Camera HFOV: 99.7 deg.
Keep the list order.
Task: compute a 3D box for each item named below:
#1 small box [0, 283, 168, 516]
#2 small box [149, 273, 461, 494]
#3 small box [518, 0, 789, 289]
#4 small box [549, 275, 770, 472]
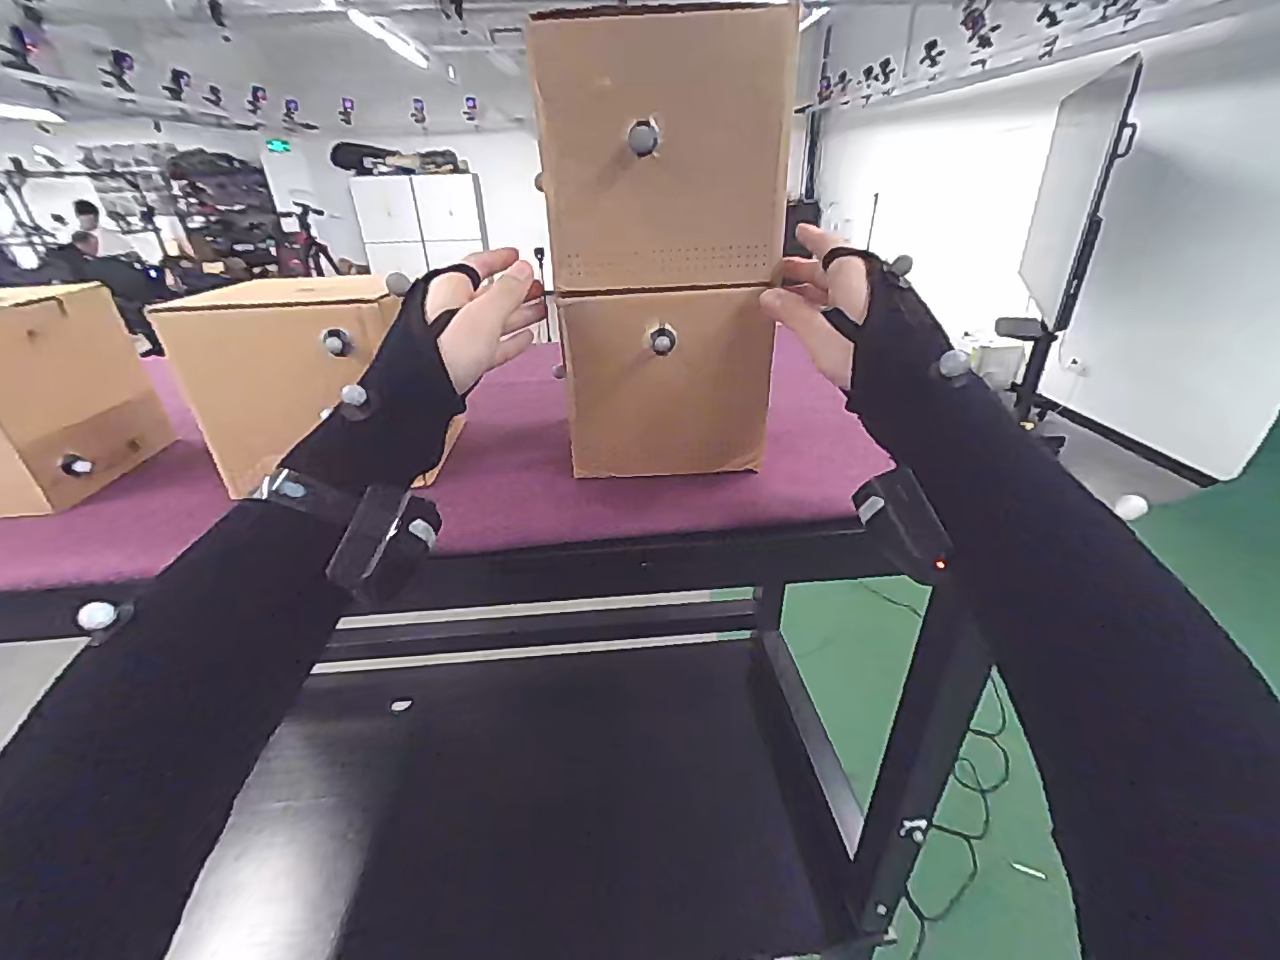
[{"bbox_3d":[-0.595,-0.073,0.489,0.179,0.176,0.168,-6,29,-5],"label":"small box"},{"bbox_3d":[-0.287,-0.096,0.516,0.179,0.176,0.168,-4,28,-4],"label":"small box"},{"bbox_3d":[0.013,-0.257,0.446,0.179,0.176,0.168,-4,30,1],"label":"small box"},{"bbox_3d":[0.019,-0.114,0.524,0.179,0.176,0.168,-2,28,1],"label":"small box"}]
